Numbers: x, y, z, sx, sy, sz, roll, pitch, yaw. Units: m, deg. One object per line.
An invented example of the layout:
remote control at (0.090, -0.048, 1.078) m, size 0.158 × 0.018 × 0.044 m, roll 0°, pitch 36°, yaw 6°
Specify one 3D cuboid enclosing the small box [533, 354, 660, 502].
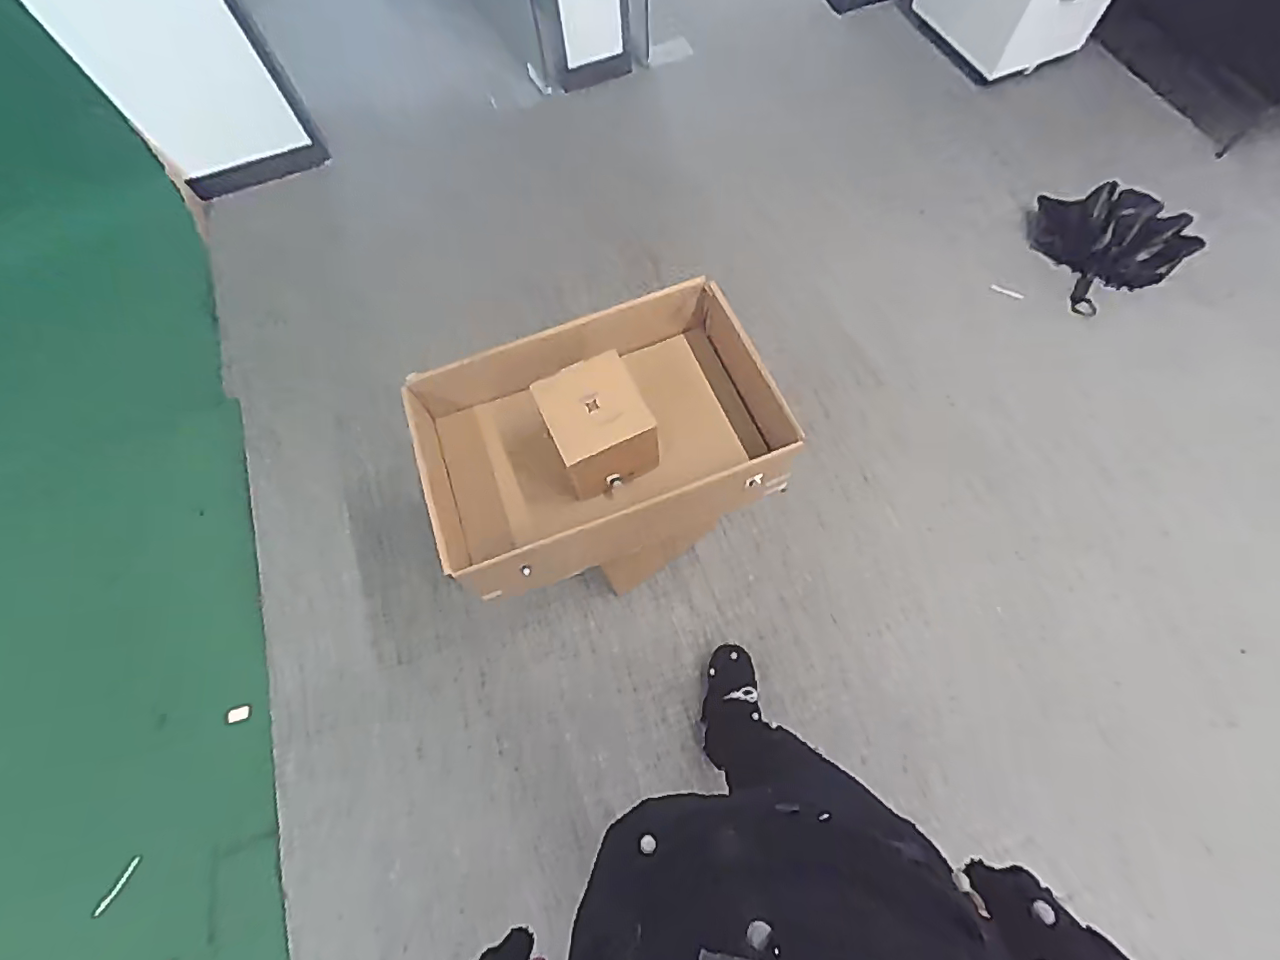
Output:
small box at (-0.073, -0.089, 0.982) m, size 0.168 × 0.176 × 0.179 m, roll -25°, pitch 68°, yaw -7°
